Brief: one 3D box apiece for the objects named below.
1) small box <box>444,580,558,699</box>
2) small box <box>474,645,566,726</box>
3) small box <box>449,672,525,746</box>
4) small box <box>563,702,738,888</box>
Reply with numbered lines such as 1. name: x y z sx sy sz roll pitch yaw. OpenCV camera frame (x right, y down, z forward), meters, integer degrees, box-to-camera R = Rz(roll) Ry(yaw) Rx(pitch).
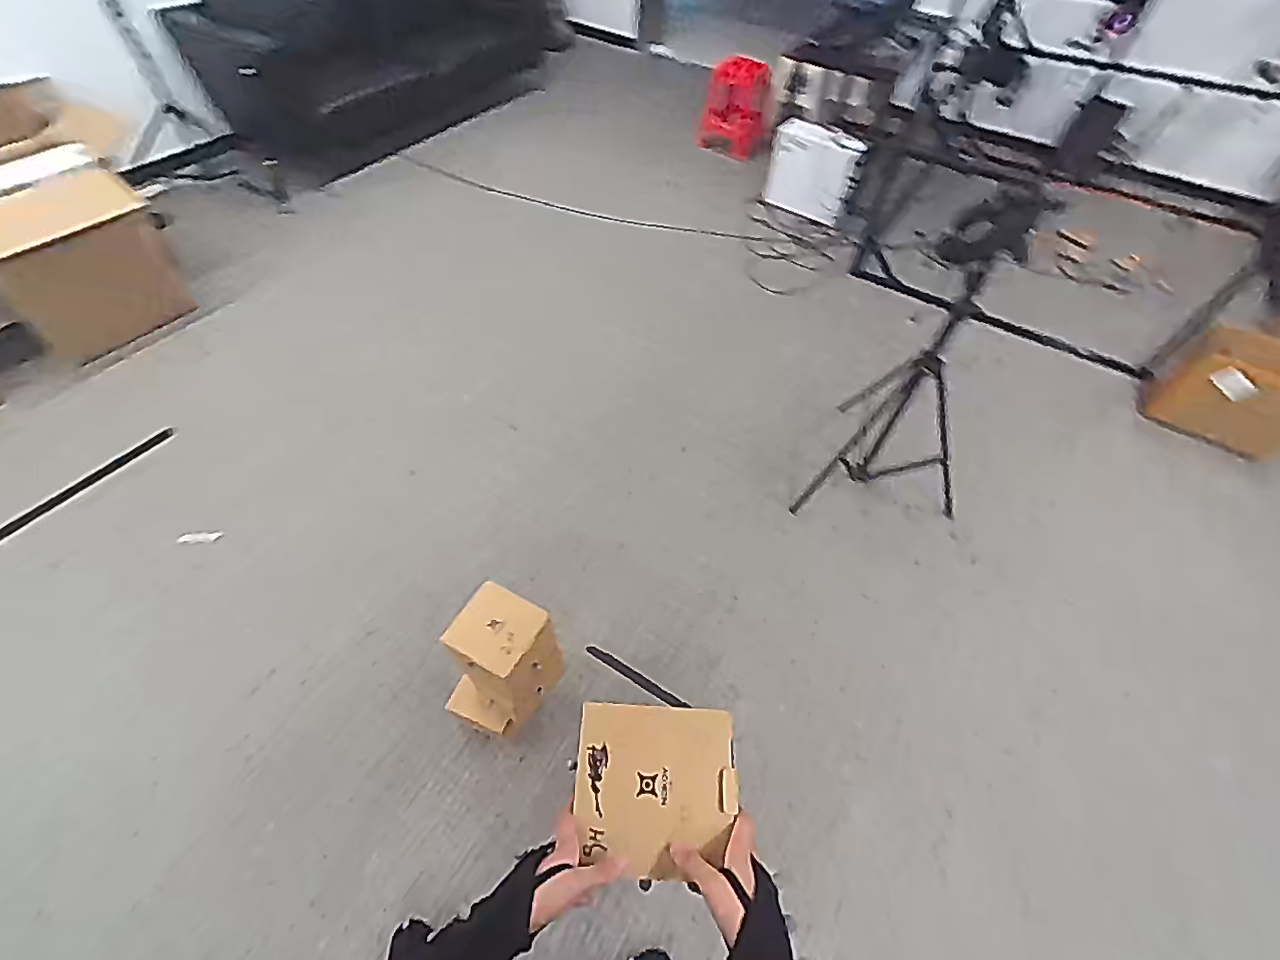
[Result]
1. small box: -0.303 0.364 1.218 0.179 0.176 0.168 25 55 16
2. small box: -0.298 0.472 1.343 0.168 0.176 0.179 31 57 21
3. small box: -0.381 0.586 1.457 0.168 0.176 0.179 19 54 12
4. small box: 0.009 0.370 0.640 0.179 0.176 0.168 4 57 -1
